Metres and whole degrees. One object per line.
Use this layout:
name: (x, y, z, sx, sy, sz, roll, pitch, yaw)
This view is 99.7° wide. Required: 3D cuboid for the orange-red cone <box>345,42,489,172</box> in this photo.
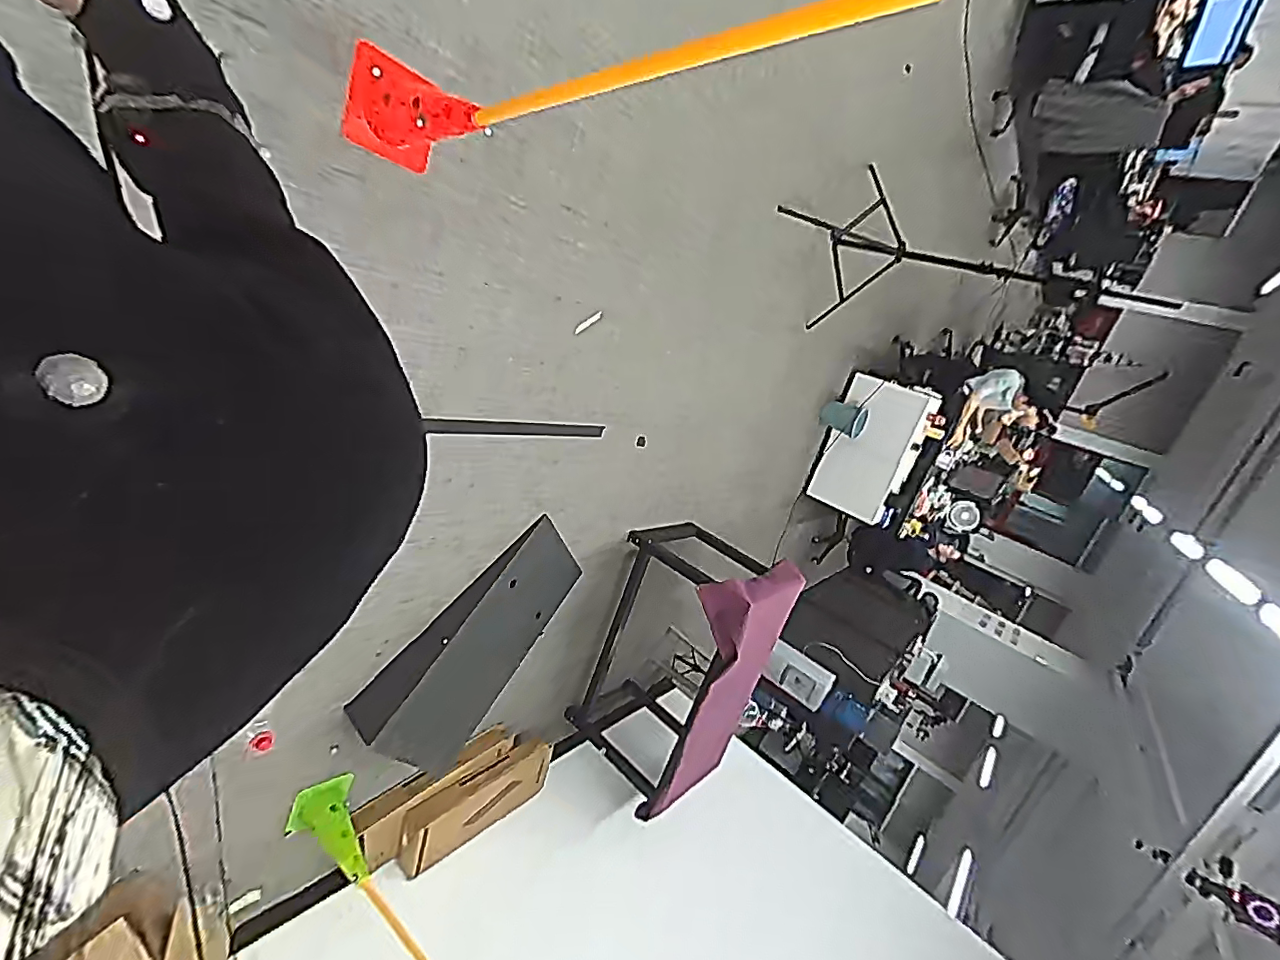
orange-red cone: (-0.429, -0.764, 1.130, 0.198, 0.360, 0.199, 2, 113, -53)
